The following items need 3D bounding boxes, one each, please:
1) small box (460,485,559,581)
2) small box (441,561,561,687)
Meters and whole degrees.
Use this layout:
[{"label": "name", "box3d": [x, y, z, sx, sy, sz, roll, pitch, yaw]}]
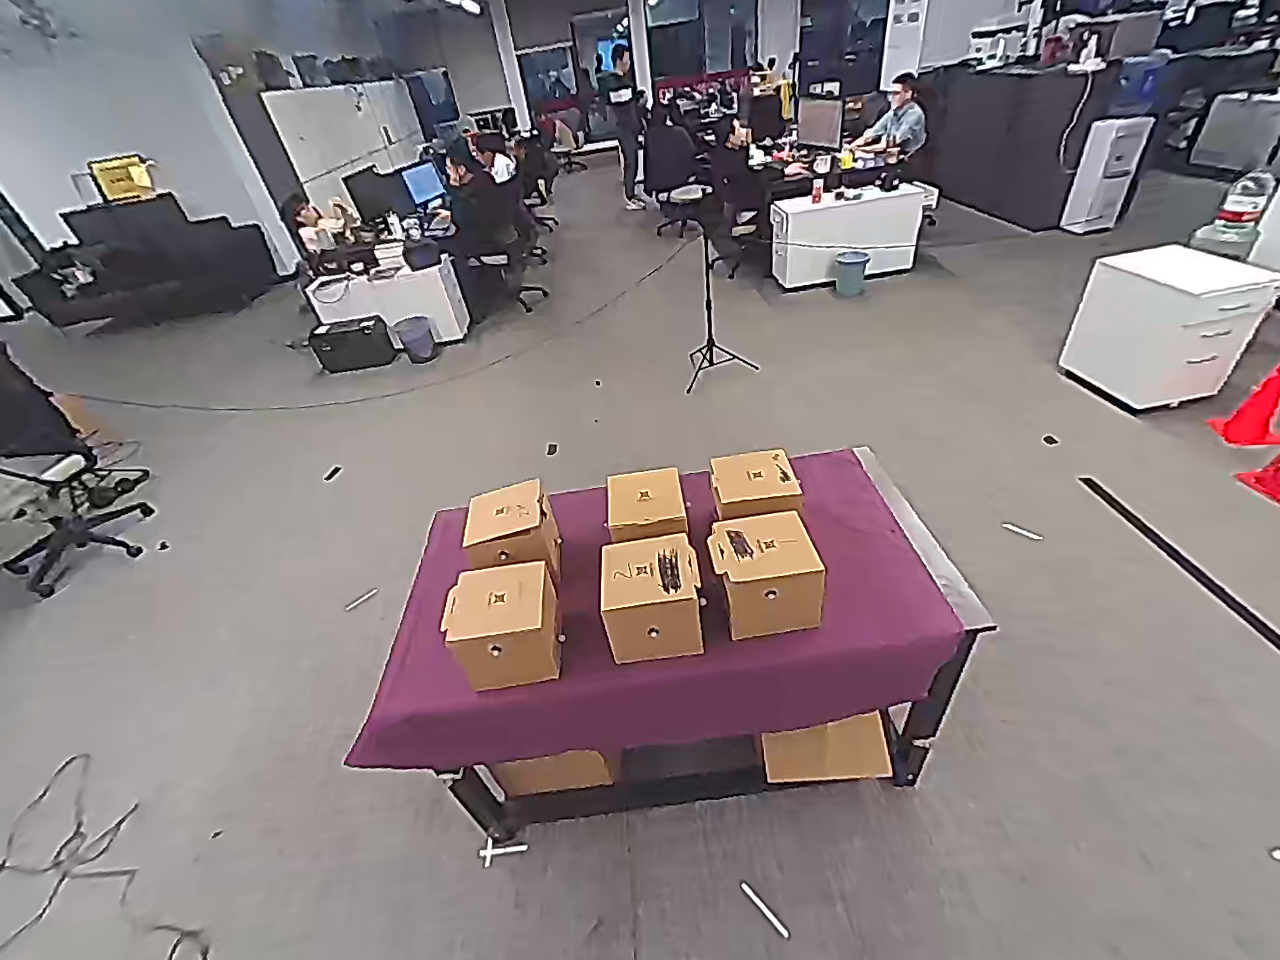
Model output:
[{"label": "small box", "box3d": [-0.294, 0.138, 1.250, 0.179, 0.176, 0.168, -9, 39, -1]}, {"label": "small box", "box3d": [-0.262, 0.285, 1.062, 0.179, 0.176, 0.168, -8, 38, 0]}]
